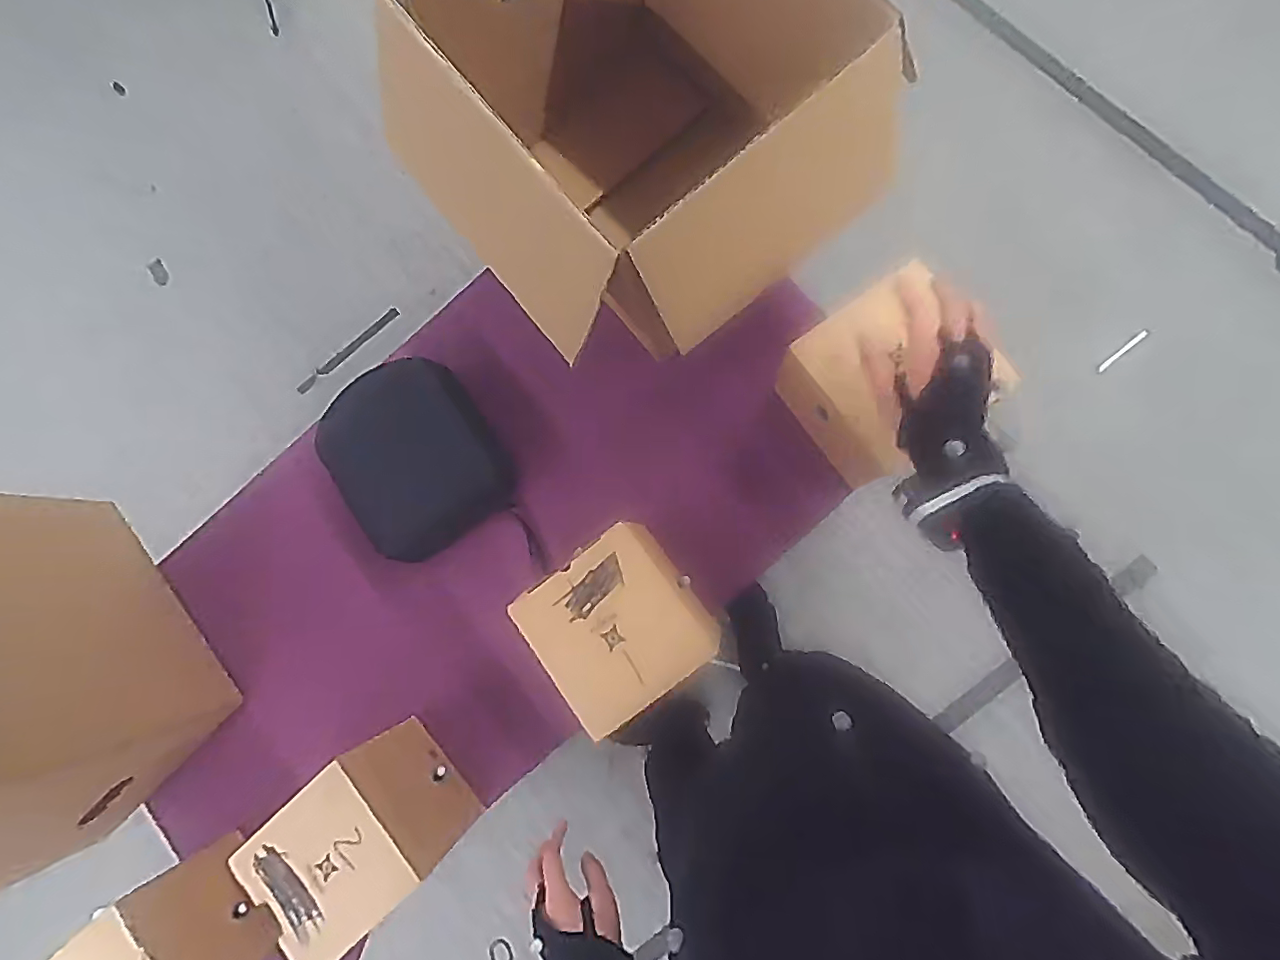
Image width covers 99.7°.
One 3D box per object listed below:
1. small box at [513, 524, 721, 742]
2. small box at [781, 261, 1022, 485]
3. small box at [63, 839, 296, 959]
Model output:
[{"bbox_3d":[-0.018,0.173,0.660,0.168,0.176,0.179,-38,80,3],"label":"small box"},{"bbox_3d":[0.285,-0.111,0.643,0.168,0.176,0.179,-35,79,4],"label":"small box"},{"bbox_3d":[-0.601,0.622,0.697,0.179,0.176,0.168,-42,79,1],"label":"small box"}]
